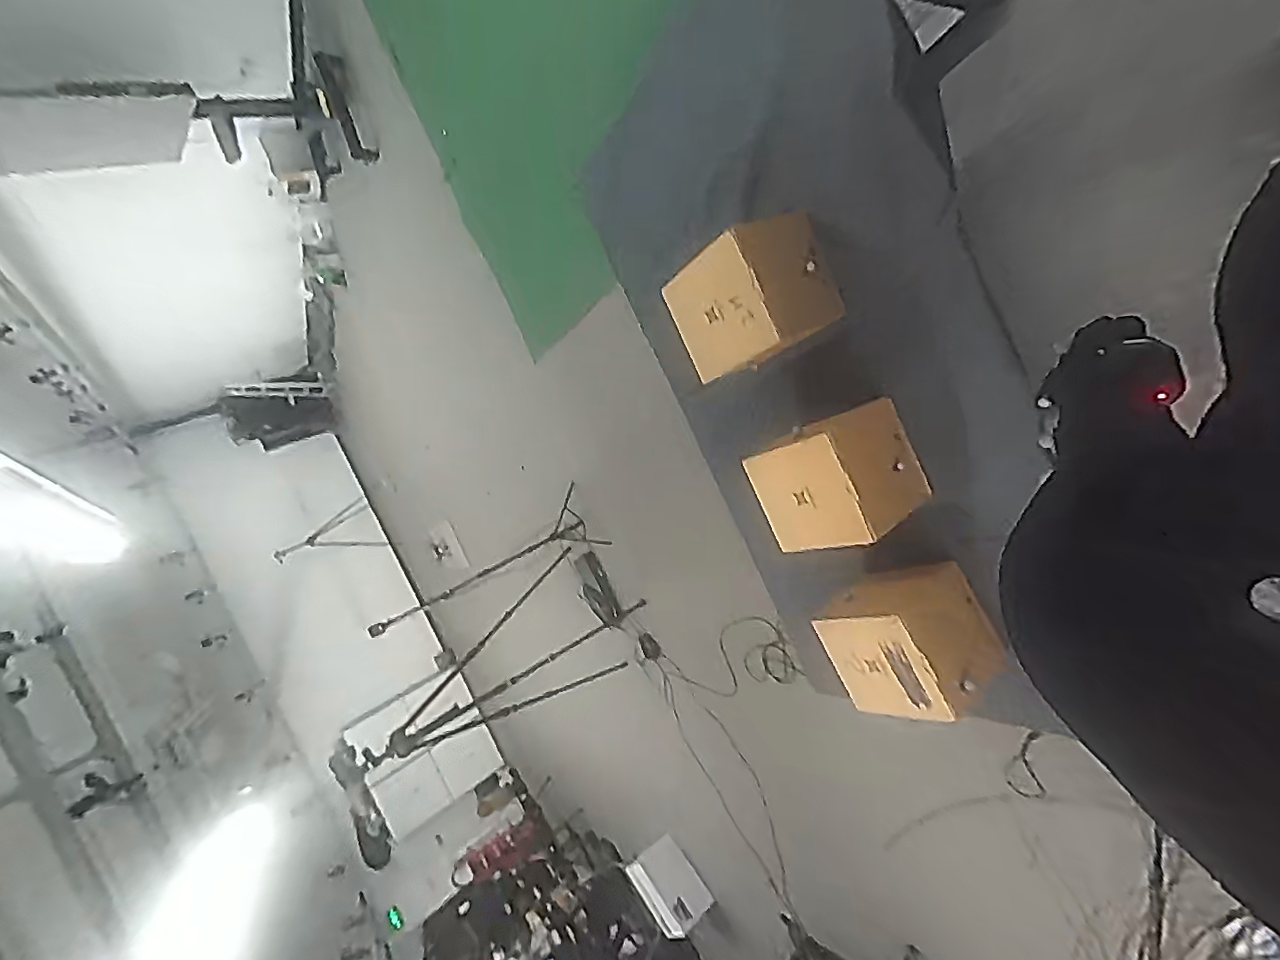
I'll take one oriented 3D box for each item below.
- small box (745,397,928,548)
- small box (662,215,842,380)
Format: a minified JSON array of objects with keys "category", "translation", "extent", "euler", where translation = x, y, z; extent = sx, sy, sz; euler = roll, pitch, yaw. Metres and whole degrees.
[{"category":"small box","translation":[0.304,-0.010,0.842],"extent":[0.179,0.176,0.168],"euler":[-22,94,56]},{"category":"small box","translation":[0.171,-0.276,0.830],"extent":[0.179,0.176,0.168],"euler":[-21,96,56]}]
